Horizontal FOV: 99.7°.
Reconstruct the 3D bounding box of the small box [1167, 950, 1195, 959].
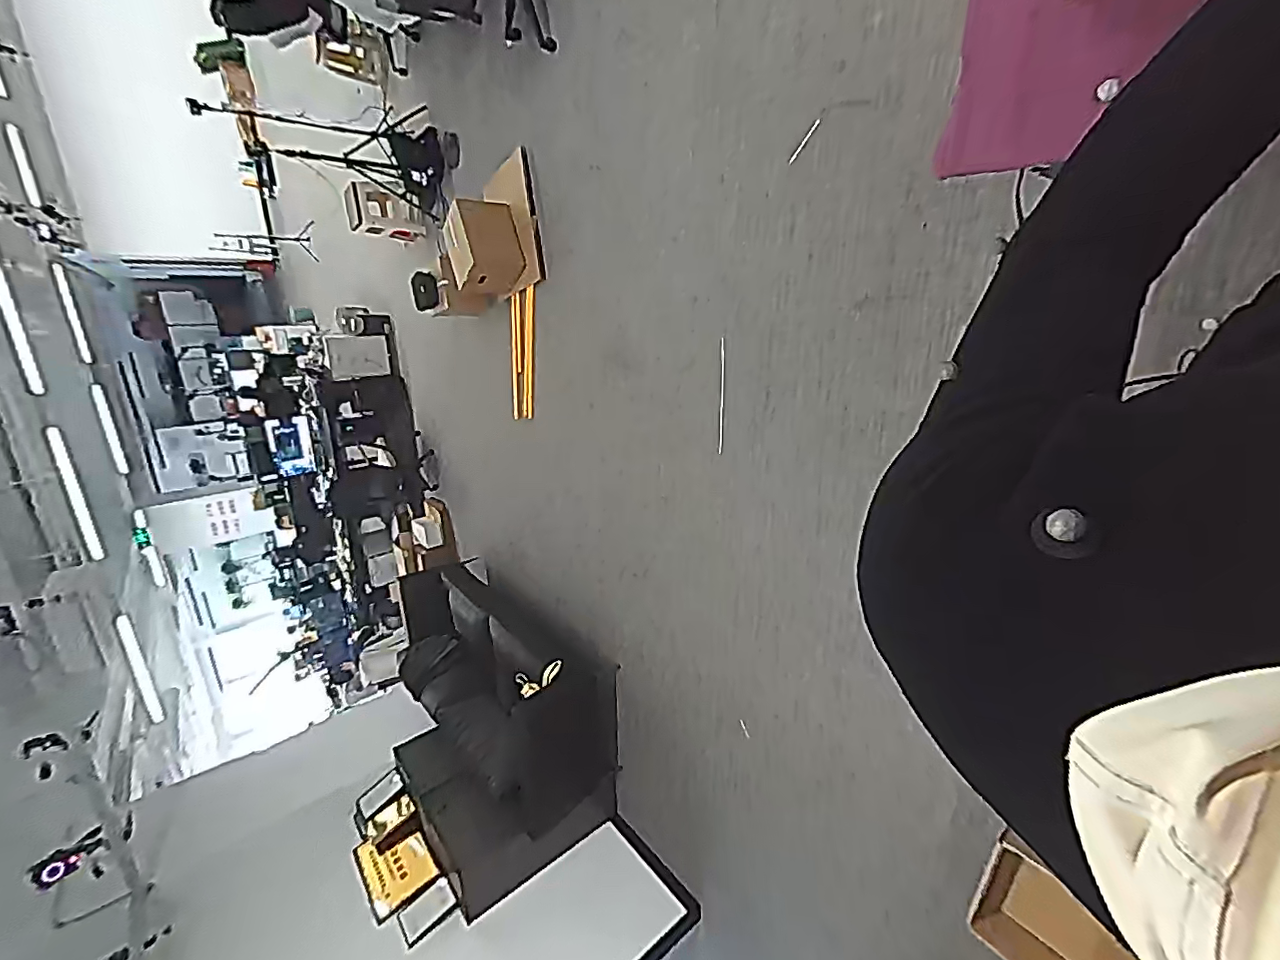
[{"bbox_3d":[1.336,1.299,1.288,0.168,0.176,0.179,25,121,45],"label":"small box"}]
